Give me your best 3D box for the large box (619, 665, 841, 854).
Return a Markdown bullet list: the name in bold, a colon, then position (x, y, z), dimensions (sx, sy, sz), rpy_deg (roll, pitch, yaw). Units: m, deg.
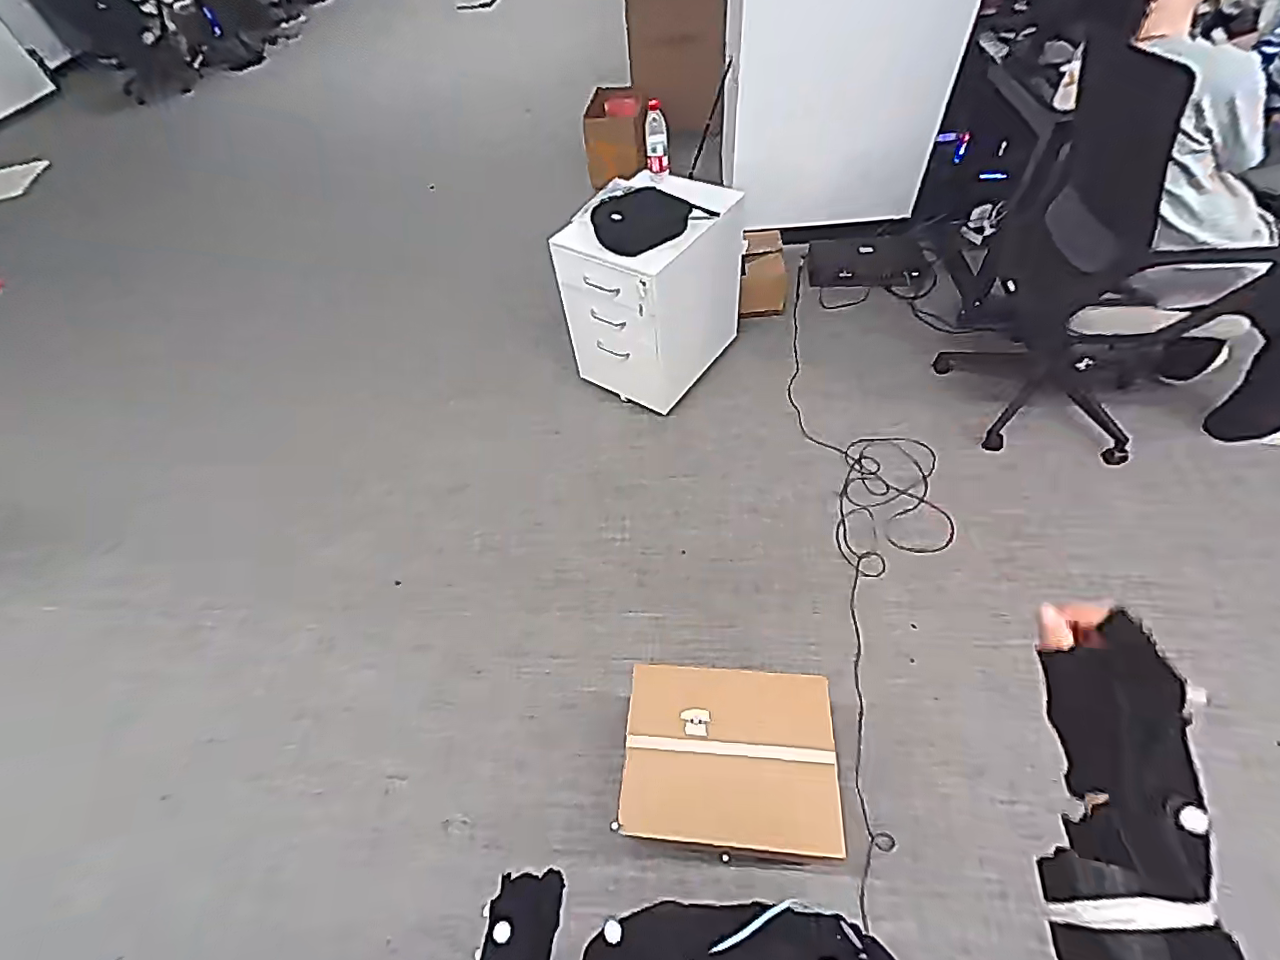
- **large box**: position (0.185, 0.612, 1.177), dimensions (0.408, 0.320, 0.320), rpy_deg (1, 53, 8)
